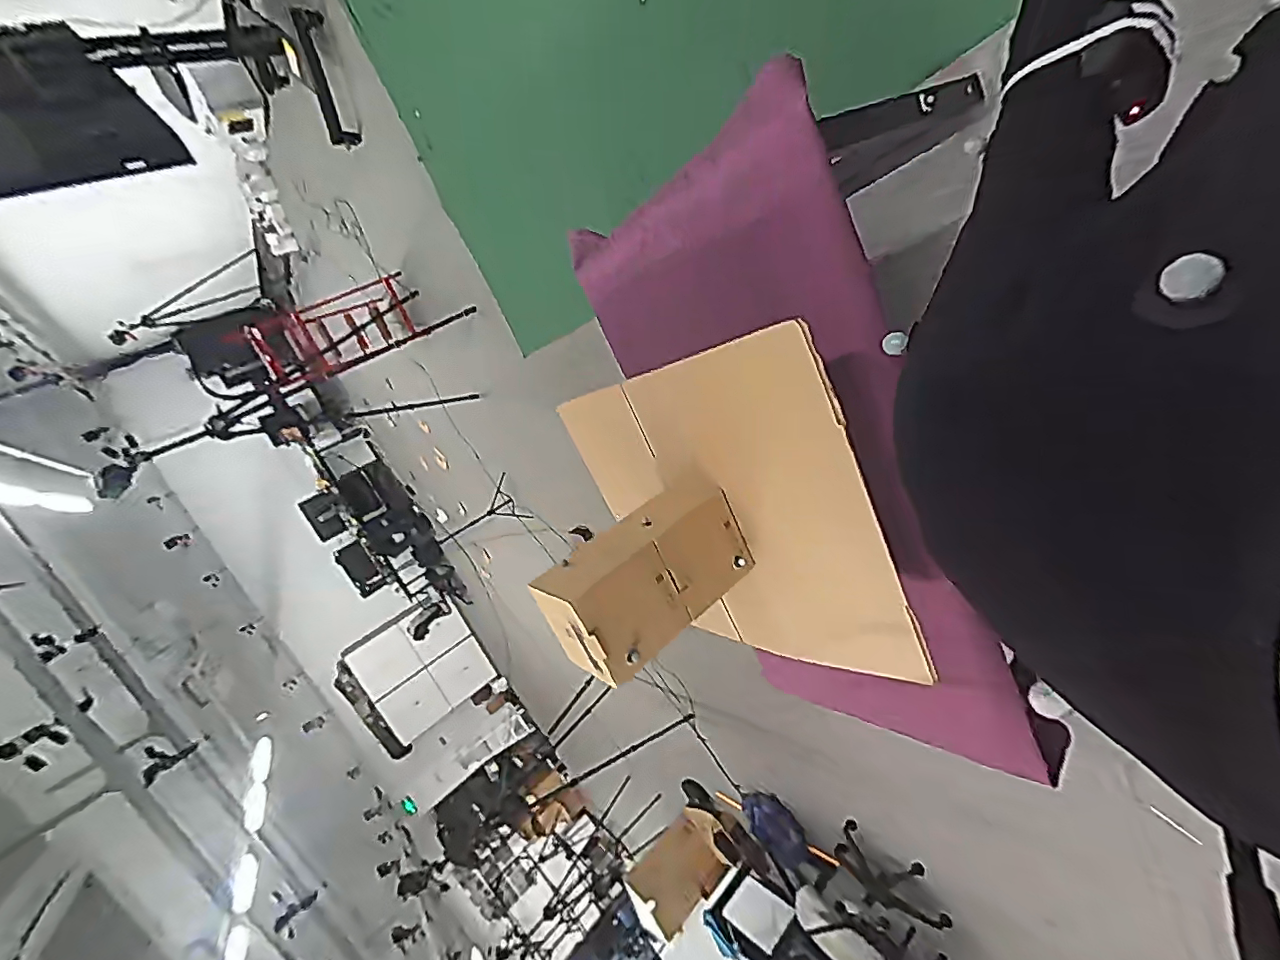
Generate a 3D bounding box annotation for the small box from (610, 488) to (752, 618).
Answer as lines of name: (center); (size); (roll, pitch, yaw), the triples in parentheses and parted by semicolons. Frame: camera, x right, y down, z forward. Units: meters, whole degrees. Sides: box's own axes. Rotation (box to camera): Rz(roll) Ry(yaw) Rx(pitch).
small box: (0.082, 0.123, 0.994); (0.179, 0.176, 0.168); (-2, 118, 58)
